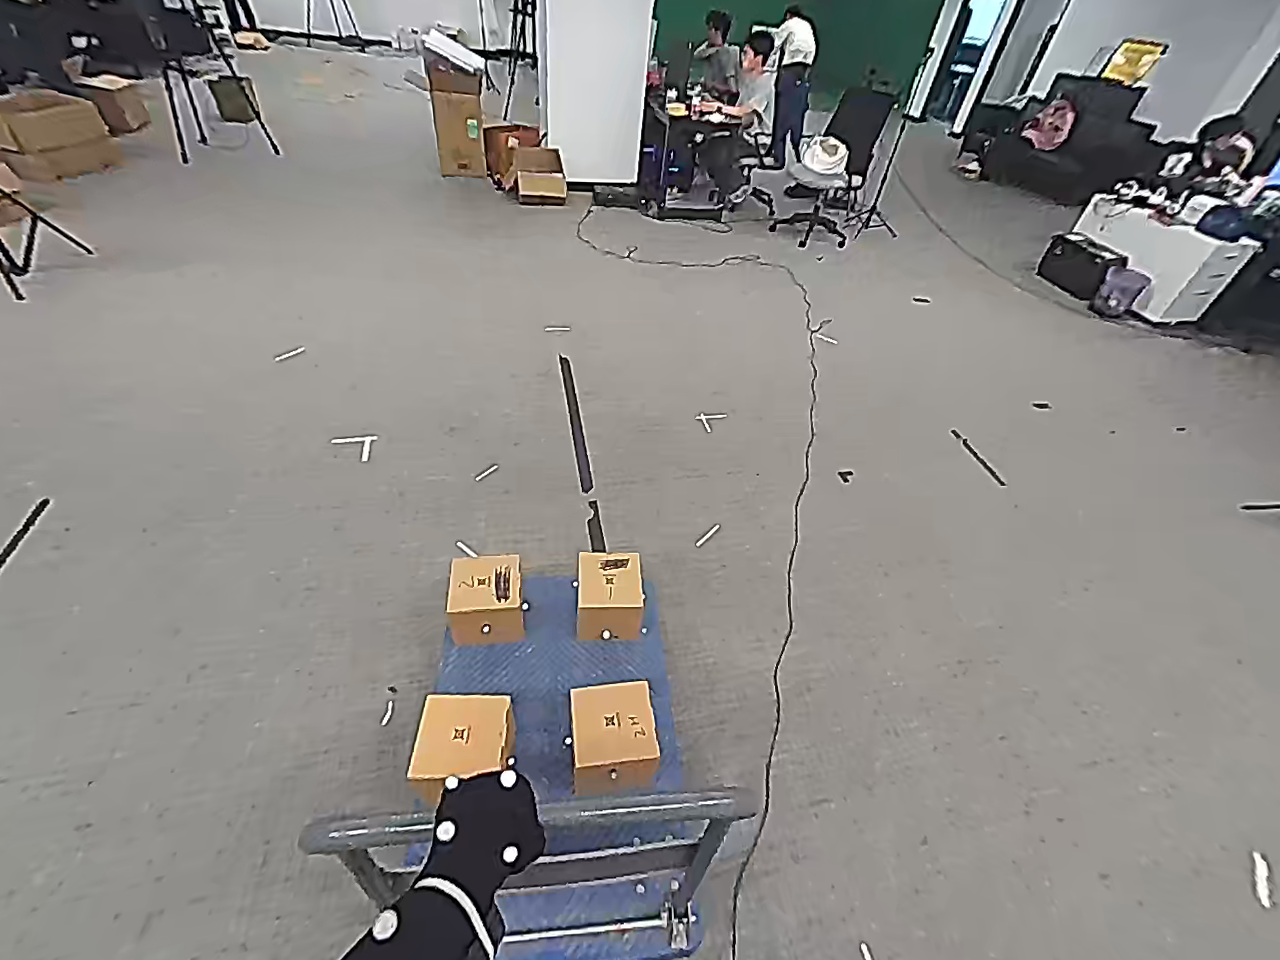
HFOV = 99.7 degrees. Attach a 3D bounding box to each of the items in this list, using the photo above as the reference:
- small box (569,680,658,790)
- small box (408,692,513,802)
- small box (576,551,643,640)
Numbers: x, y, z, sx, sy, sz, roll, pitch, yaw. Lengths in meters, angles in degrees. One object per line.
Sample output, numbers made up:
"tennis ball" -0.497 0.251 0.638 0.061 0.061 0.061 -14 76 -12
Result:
"small box" -0.064 0.566 1.197 0.179 0.176 0.168 -2 44 -10
"small box" -0.370 0.571 1.151 0.179 0.176 0.168 4 43 -7
"small box" -0.087 0.313 1.466 0.168 0.176 0.179 1 44 -7
